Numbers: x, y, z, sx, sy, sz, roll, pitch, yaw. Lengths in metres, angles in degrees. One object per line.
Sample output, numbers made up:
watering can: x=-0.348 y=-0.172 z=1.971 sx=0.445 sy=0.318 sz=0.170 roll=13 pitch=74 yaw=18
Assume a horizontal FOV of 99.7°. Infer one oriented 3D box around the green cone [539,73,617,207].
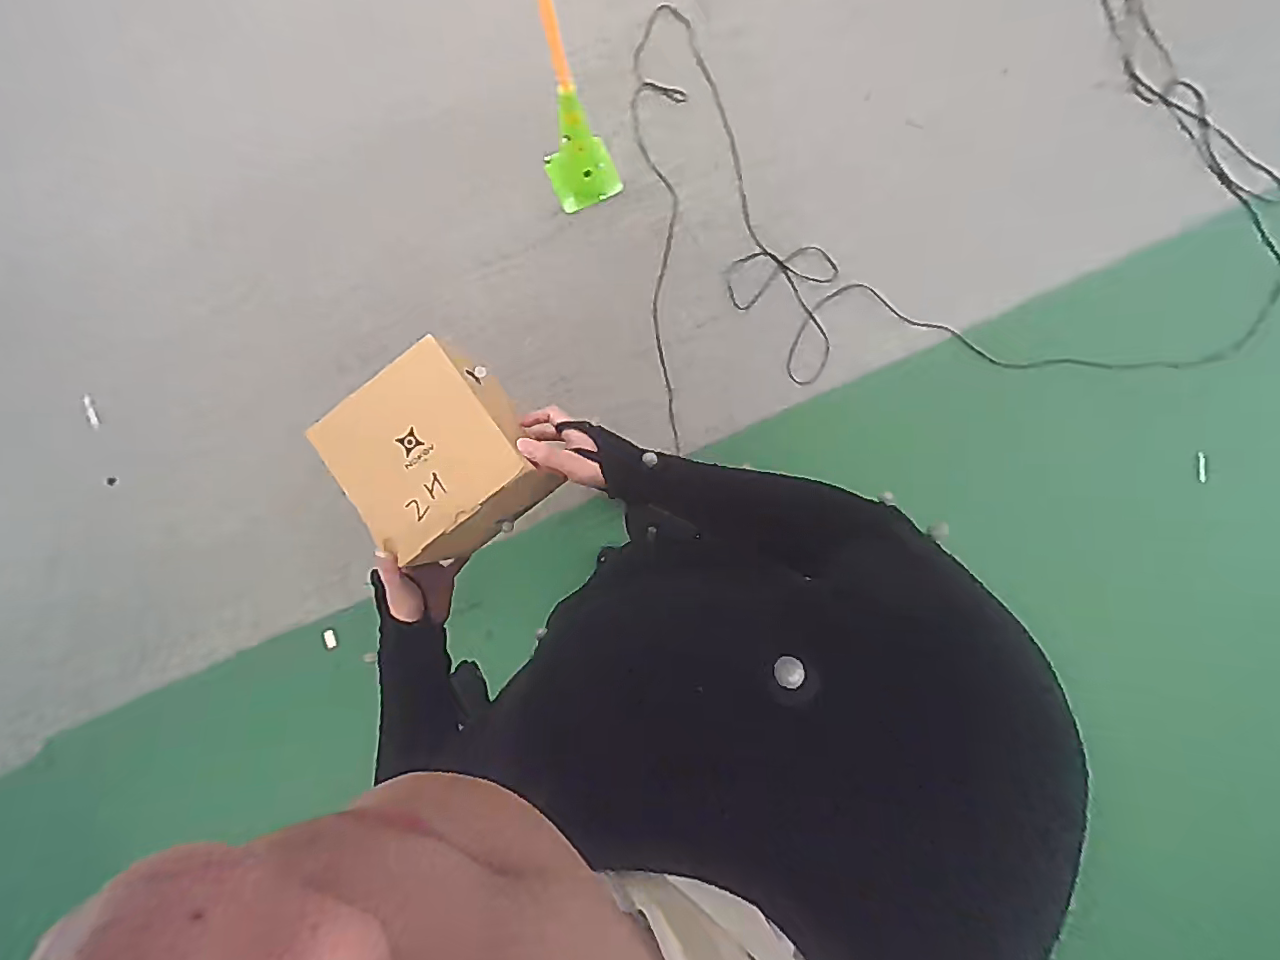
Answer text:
green cone: x=-0.191 y=-0.986 z=1.531 sx=0.202 sy=0.368 sz=0.200 roll=-25 pitch=88 yaw=-2
